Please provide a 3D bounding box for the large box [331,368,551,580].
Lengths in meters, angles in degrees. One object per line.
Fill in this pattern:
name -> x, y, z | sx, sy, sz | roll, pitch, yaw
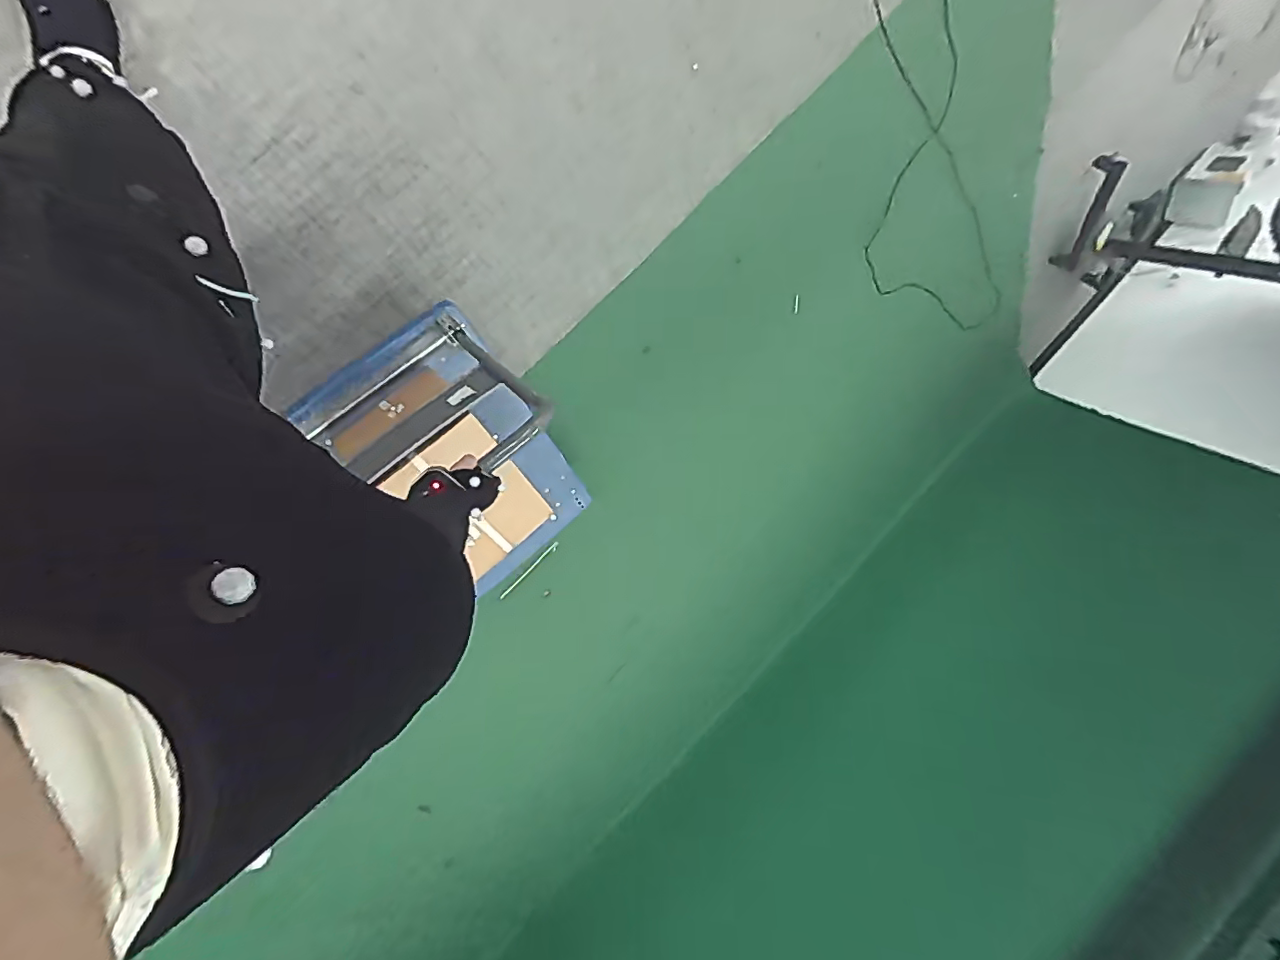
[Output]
large box -> -0.512, -0.016, 1.420 | 0.320, 0.320, 0.408 | -41, 137, -10
